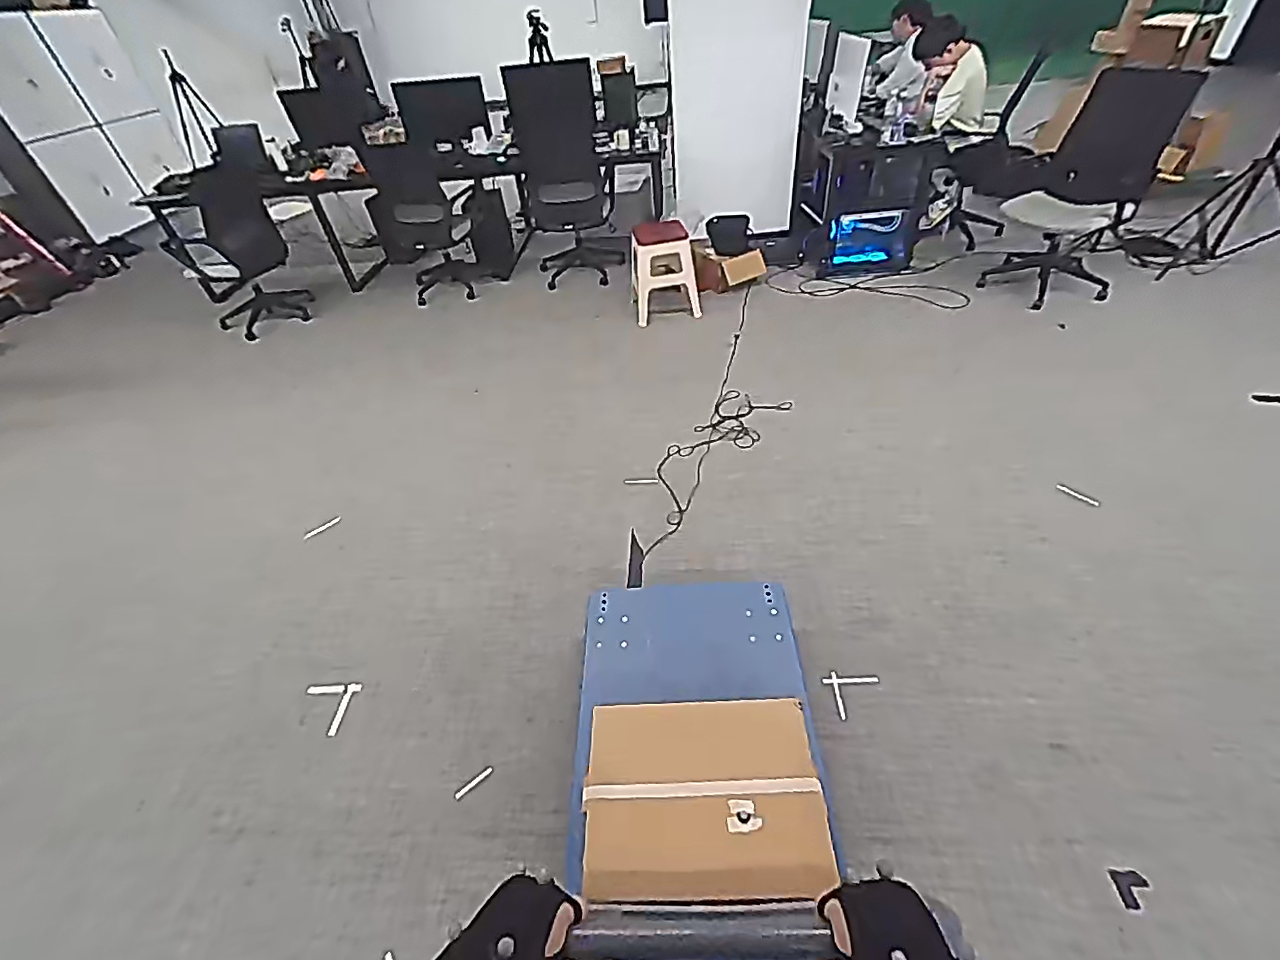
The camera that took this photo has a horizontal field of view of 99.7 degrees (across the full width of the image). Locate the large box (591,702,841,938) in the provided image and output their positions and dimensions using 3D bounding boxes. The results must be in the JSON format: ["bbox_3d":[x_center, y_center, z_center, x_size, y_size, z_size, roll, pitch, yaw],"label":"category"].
[{"bbox_3d":[0.125,0.662,1.054,0.408,0.320,0.320,-4,43,3],"label":"large box"}]
